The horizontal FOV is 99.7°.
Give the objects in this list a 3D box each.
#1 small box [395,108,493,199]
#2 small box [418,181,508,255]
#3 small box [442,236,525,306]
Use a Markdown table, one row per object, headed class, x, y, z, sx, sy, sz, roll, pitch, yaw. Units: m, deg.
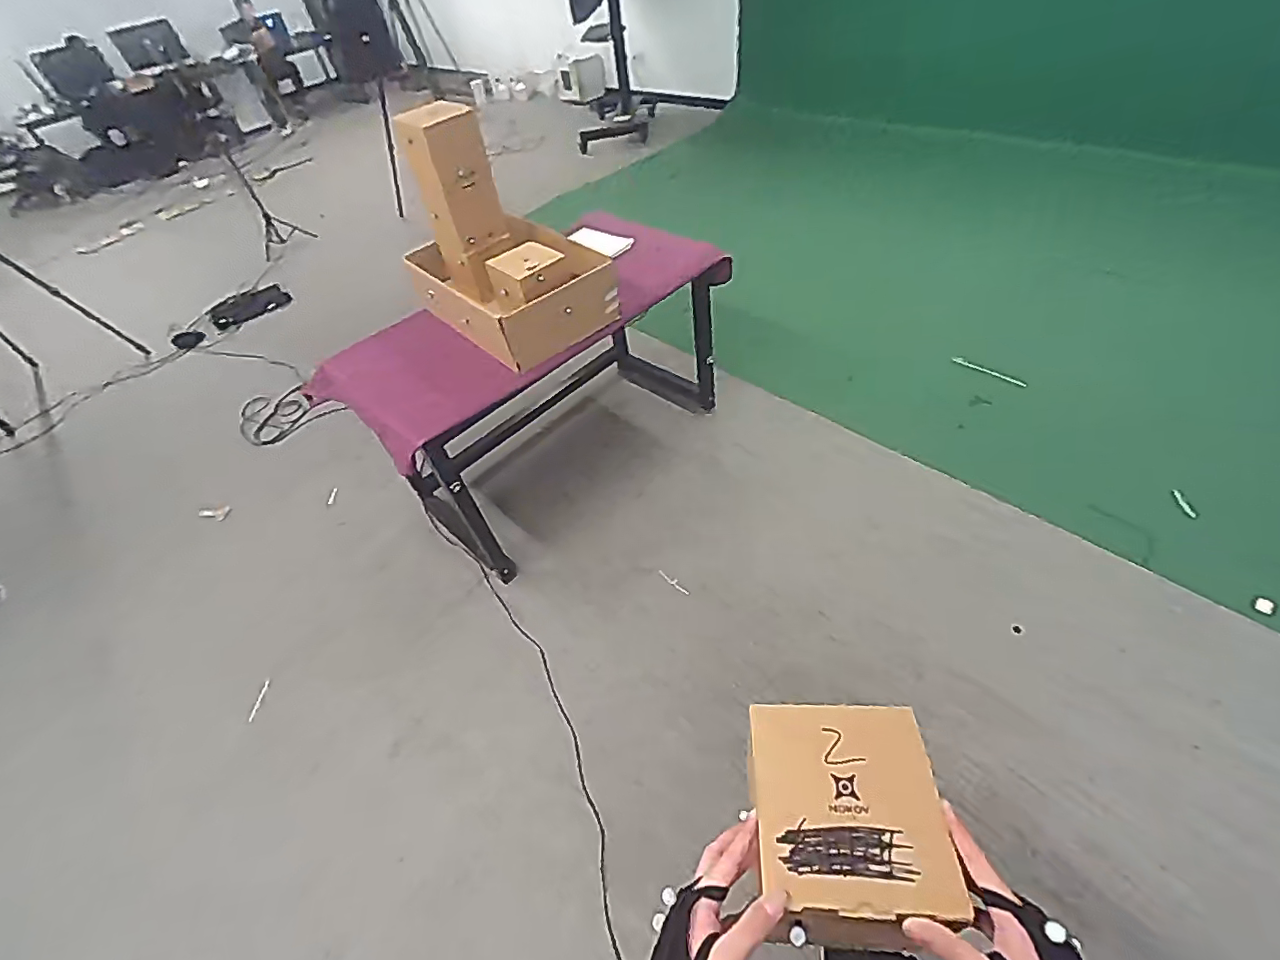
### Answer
| class | x | y | z | sx | sy | sz | roll | pitch | yaw |
| --- | --- | --- | --- | --- | --- | --- | --- | --- | --- |
| small box | -0.540 | -0.907 | 1.504 | 0.179 | 0.176 | 0.168 | 35 | 61 | 31 |
| small box | -0.524 | -0.799 | 1.625 | 0.179 | 0.176 | 0.168 | 34 | 60 | 32 |
| small box | -0.500 | -0.687 | 1.743 | 0.168 | 0.176 | 0.179 | -39 | 55 | -24 |
